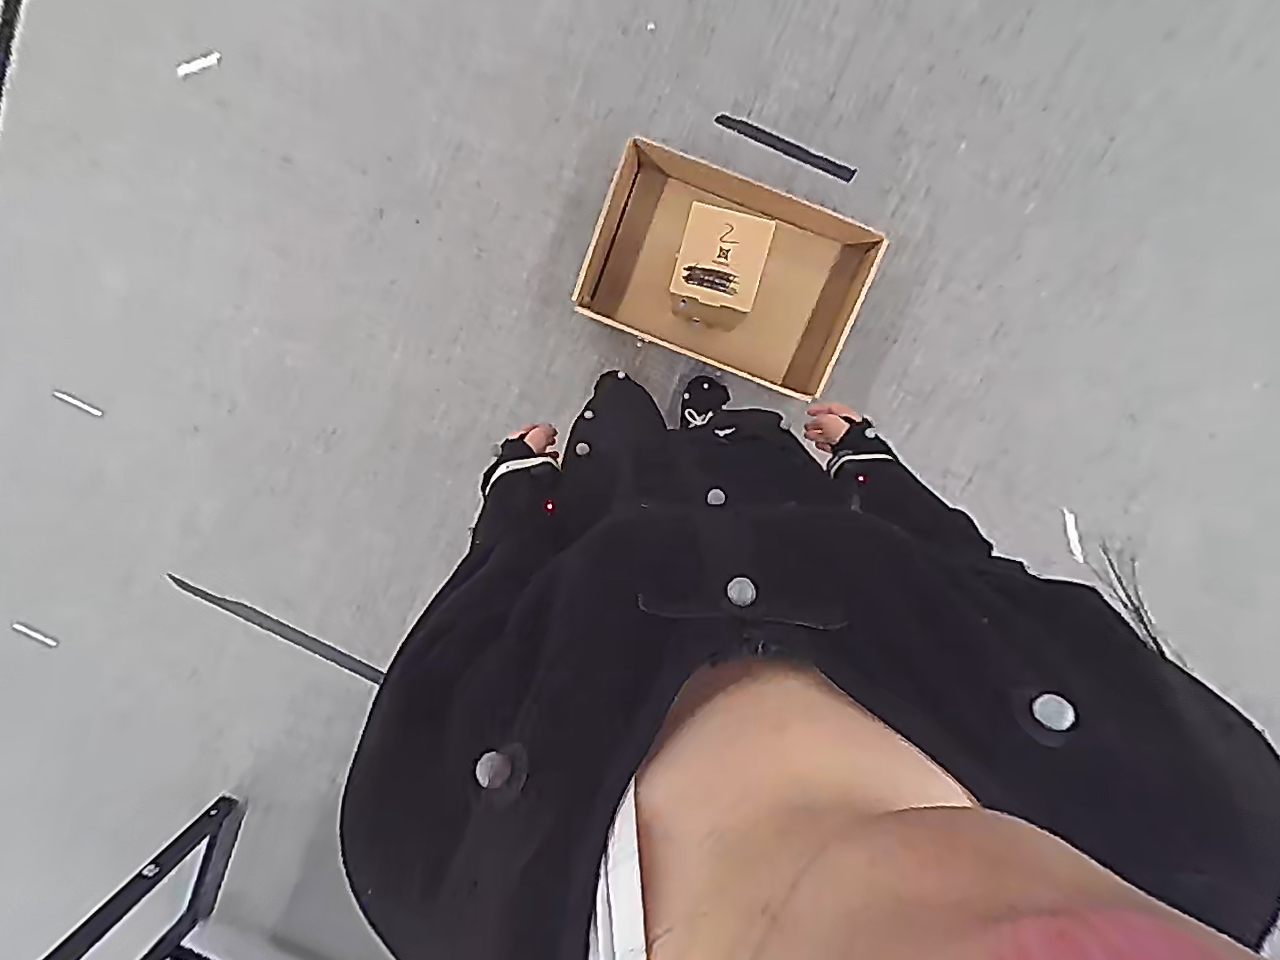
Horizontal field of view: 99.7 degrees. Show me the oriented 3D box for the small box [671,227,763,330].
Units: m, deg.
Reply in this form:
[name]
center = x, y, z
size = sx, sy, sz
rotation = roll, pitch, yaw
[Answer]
[small box]
center = 0.176, -0.468, 1.281
size = 0.168, 0.176, 0.179
rotation = 17, 102, 2
